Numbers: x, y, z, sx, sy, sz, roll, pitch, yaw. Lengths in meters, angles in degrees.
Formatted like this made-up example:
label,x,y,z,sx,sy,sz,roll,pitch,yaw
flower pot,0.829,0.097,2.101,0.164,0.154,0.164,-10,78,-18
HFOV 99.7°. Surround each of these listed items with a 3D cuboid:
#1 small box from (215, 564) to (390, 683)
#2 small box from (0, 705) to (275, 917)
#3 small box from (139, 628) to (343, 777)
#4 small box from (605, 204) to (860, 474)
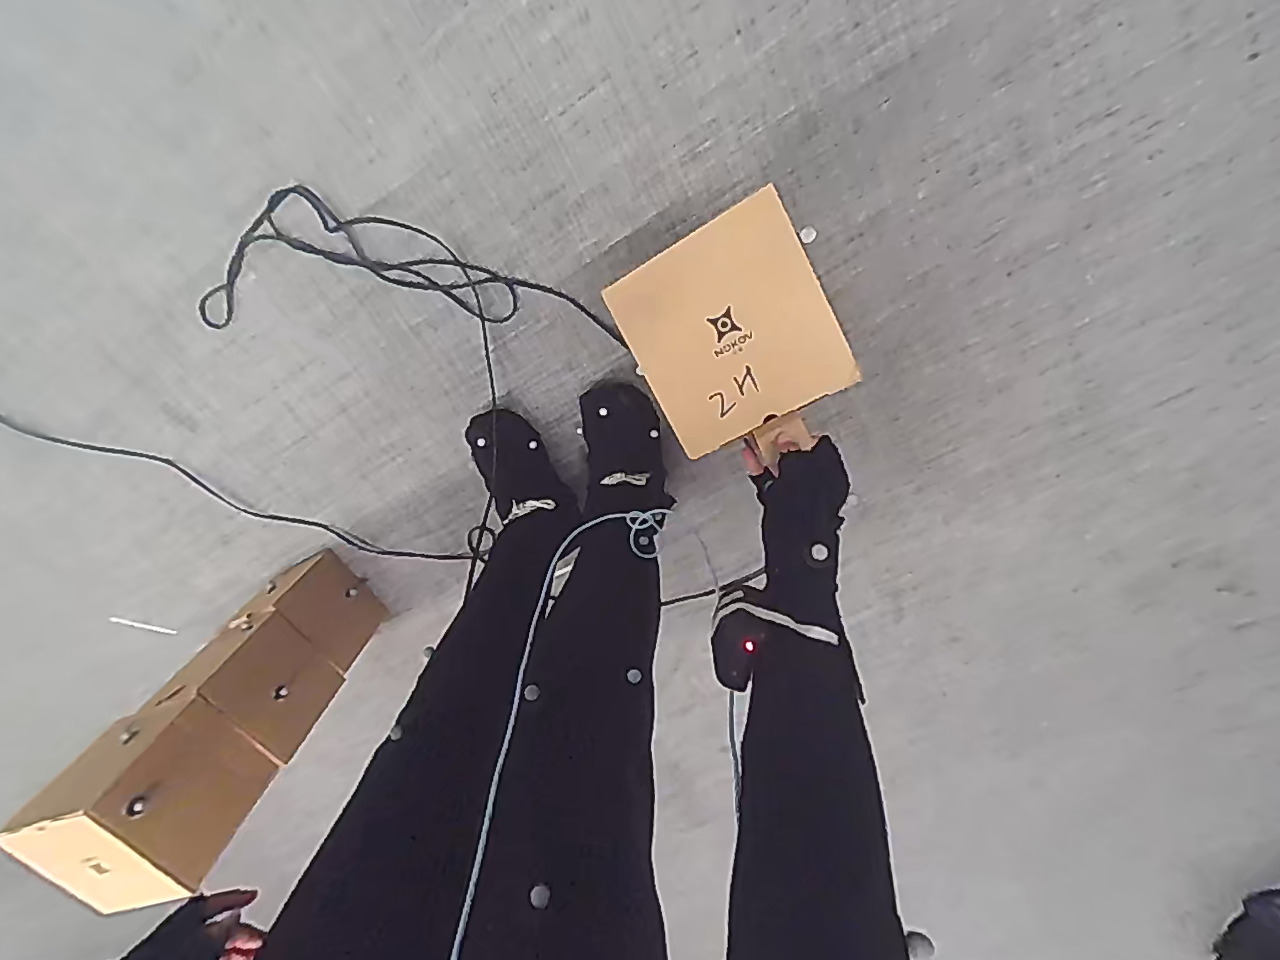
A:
label,x,y,z,sx,sy,sz,roll,pitch,yaw
small box,-0.618,0.281,1.012,0.168,0.176,0.179,-26,111,19
small box,-0.649,0.438,0.724,0.168,0.176,0.179,-20,113,14
small box,-0.630,0.362,0.866,0.168,0.176,0.179,-24,114,15
small box,0.094,-0.134,0.536,0.168,0.176,0.179,-25,100,21
